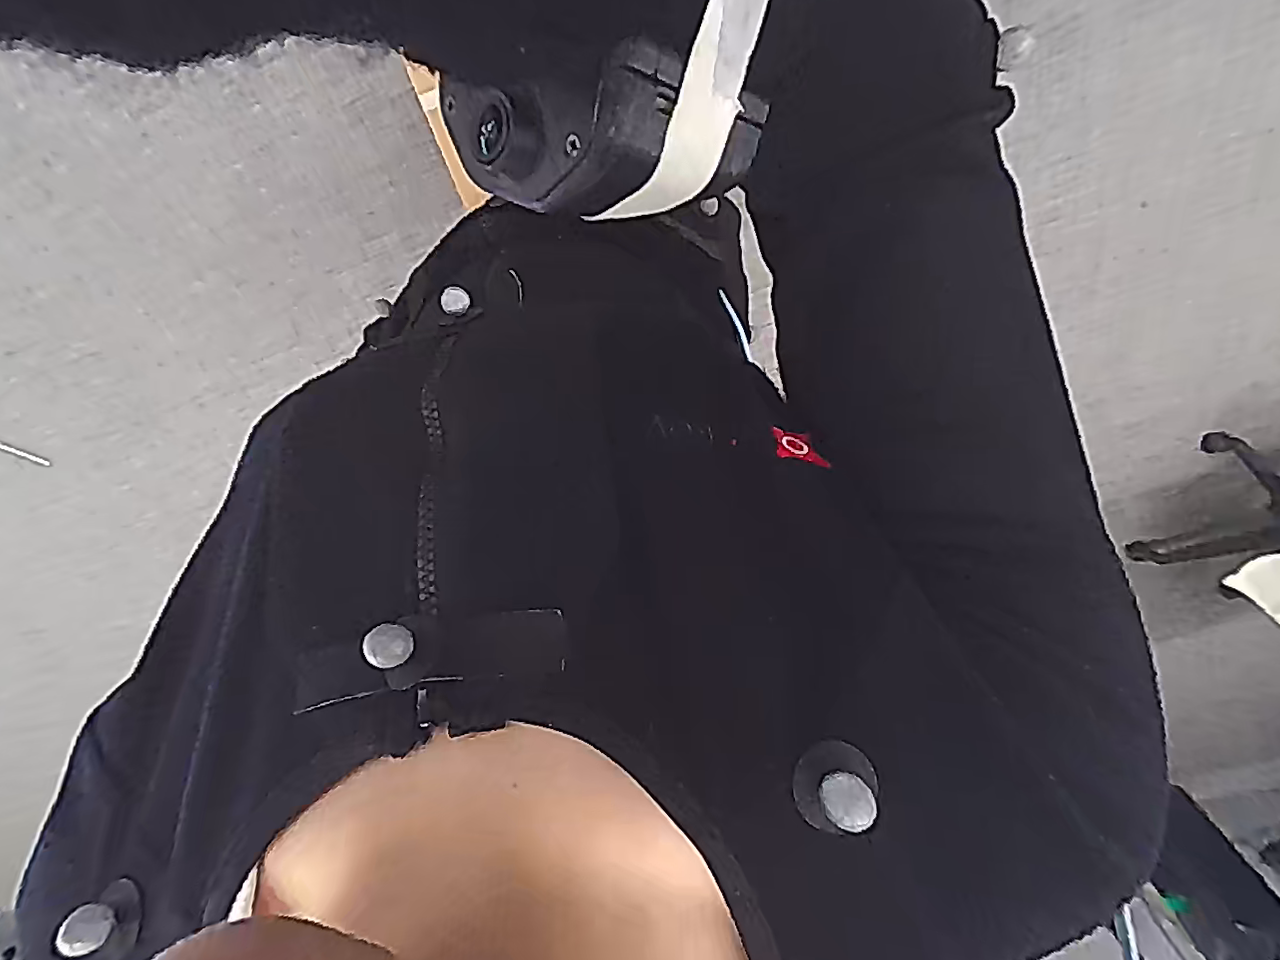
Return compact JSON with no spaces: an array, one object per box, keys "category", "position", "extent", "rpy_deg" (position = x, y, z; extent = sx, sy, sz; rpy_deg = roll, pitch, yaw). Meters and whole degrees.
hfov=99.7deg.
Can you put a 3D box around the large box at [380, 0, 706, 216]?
[{"category":"large box","position":[-0.134,-0.686,0.909],"extent":[0.408,0.320,0.320],"rpy_deg":[-15,119,7]}]
